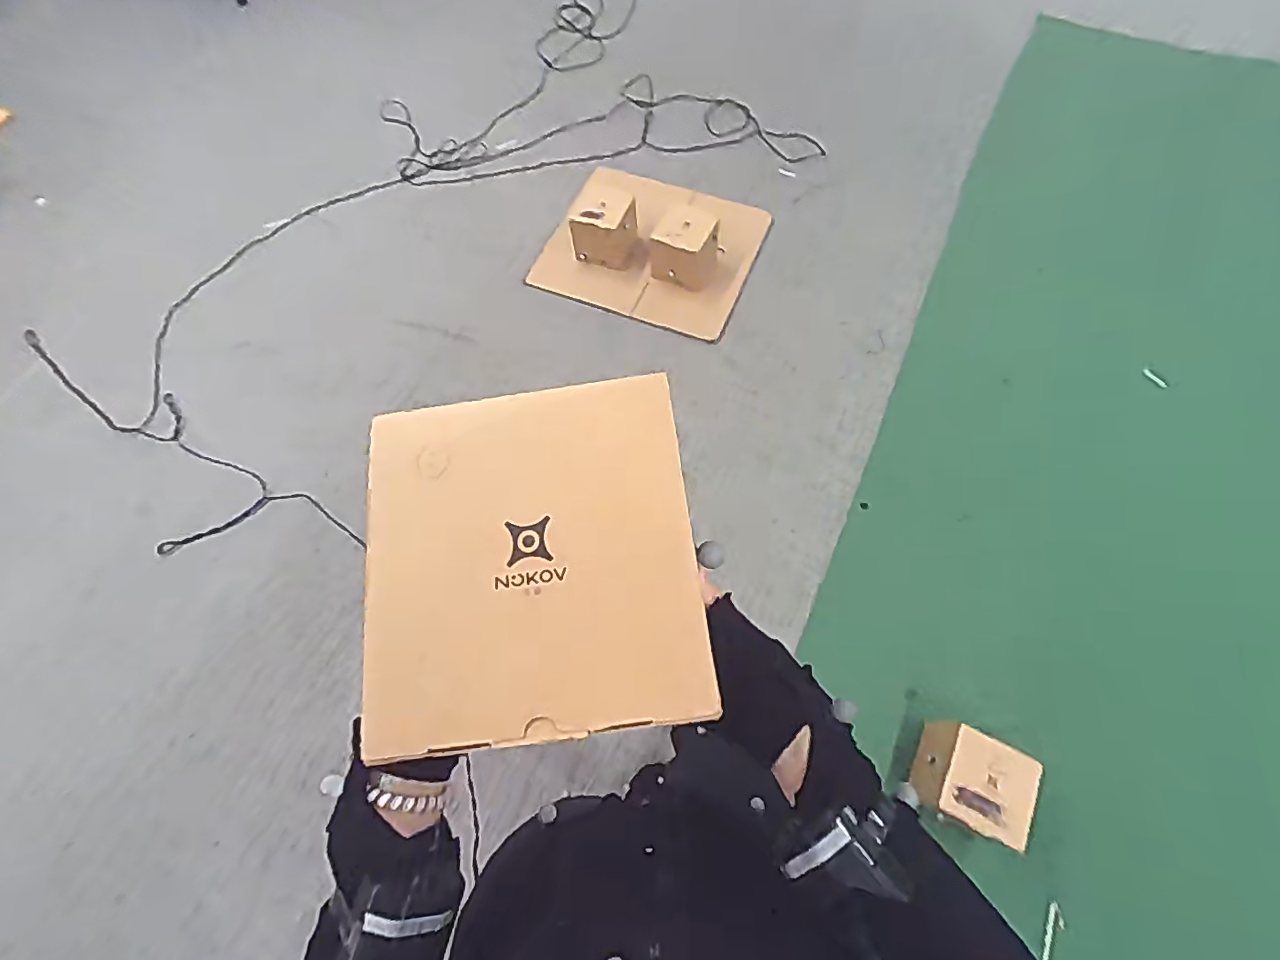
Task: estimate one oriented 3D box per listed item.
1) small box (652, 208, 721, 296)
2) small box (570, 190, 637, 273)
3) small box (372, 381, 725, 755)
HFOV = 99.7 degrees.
[{"bbox_3d":[0.148,-0.740,1.765,0.168,0.176,0.179,25,70,13],"label":"small box"},{"bbox_3d":[-0.115,-0.826,1.809,0.168,0.176,0.179,19,68,10],"label":"small box"},{"bbox_3d":[-0.047,0.061,0.349,0.168,0.176,0.179,-8,72,1],"label":"small box"}]
